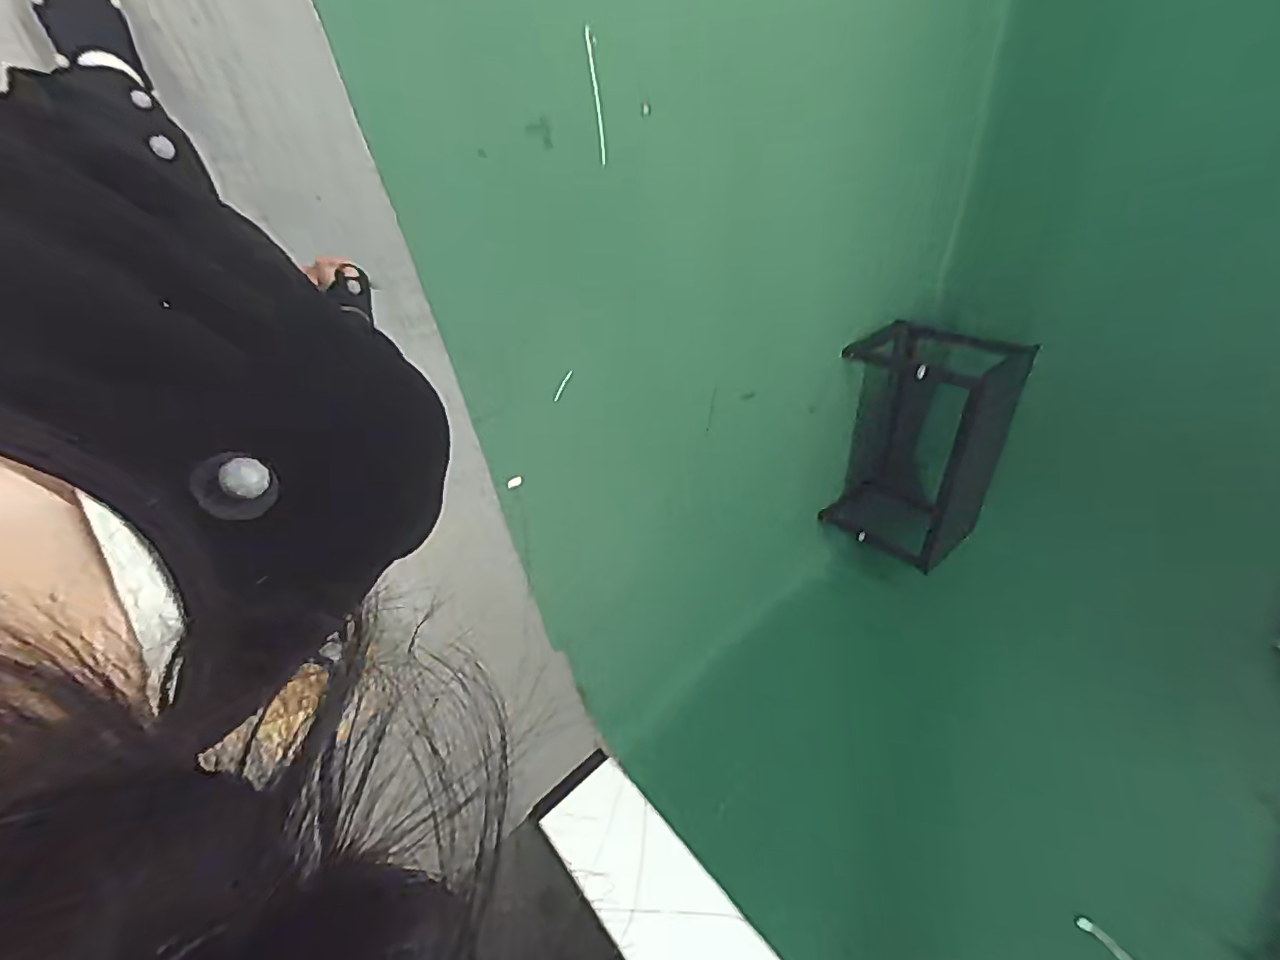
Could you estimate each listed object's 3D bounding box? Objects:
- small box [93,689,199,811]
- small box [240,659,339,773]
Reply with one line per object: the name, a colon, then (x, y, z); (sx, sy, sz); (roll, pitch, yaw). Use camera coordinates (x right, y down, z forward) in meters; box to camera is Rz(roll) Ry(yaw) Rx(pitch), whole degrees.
small box: (-1.226, 0.663, 1.347); (0.168, 0.176, 0.179); (-14, 124, -39)
small box: (-0.896, 0.592, 1.384); (0.179, 0.176, 0.168); (-13, 123, -39)
